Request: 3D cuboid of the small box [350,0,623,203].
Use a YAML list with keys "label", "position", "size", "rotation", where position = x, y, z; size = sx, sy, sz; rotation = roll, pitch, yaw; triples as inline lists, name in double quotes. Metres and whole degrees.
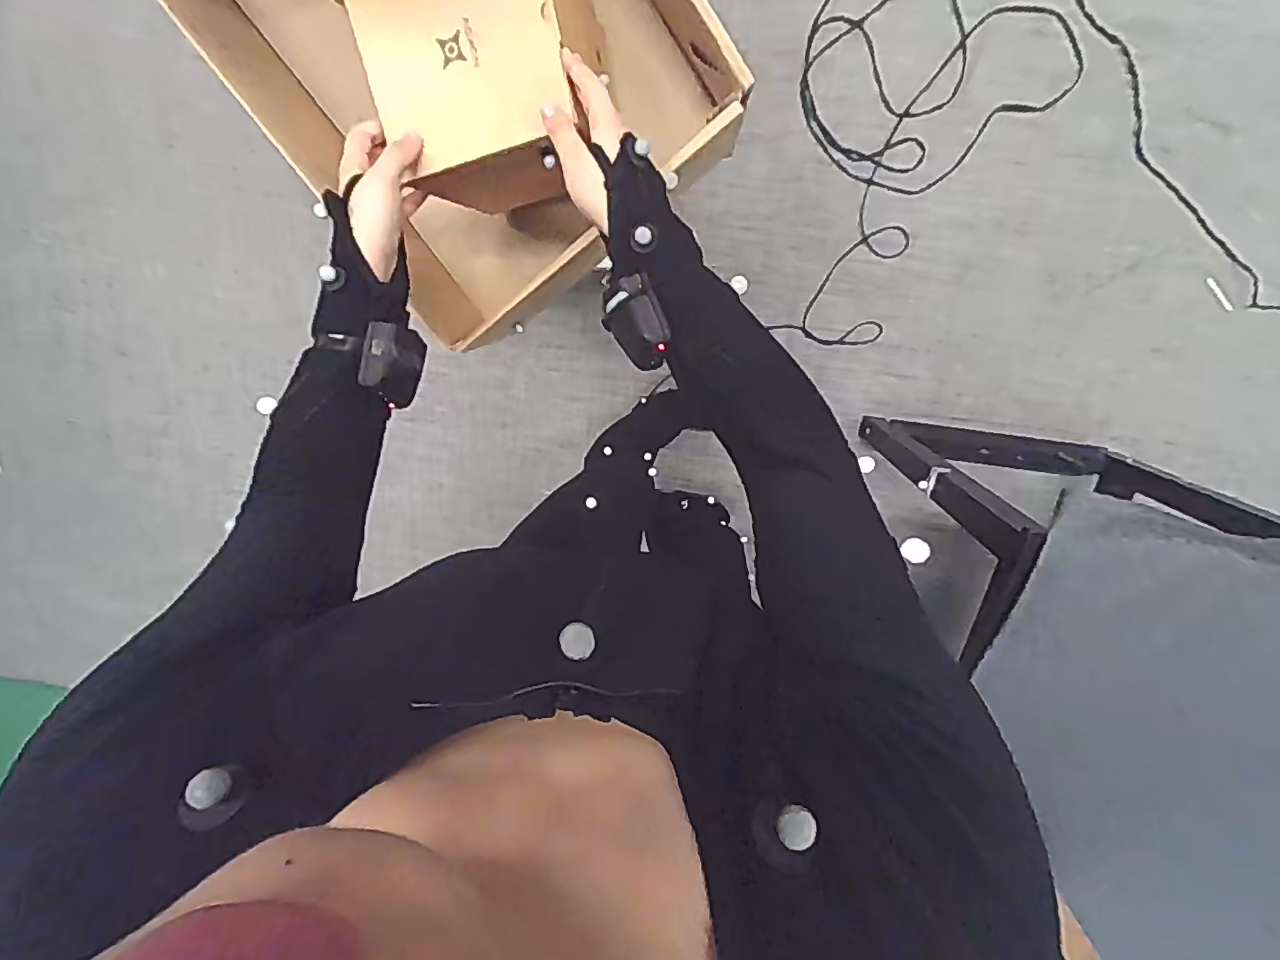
- label: "small box"
  position: [-0.132, -0.384, 0.516]
  size: [0.179, 0.176, 0.168]
  rotation: [-9, 105, 15]
